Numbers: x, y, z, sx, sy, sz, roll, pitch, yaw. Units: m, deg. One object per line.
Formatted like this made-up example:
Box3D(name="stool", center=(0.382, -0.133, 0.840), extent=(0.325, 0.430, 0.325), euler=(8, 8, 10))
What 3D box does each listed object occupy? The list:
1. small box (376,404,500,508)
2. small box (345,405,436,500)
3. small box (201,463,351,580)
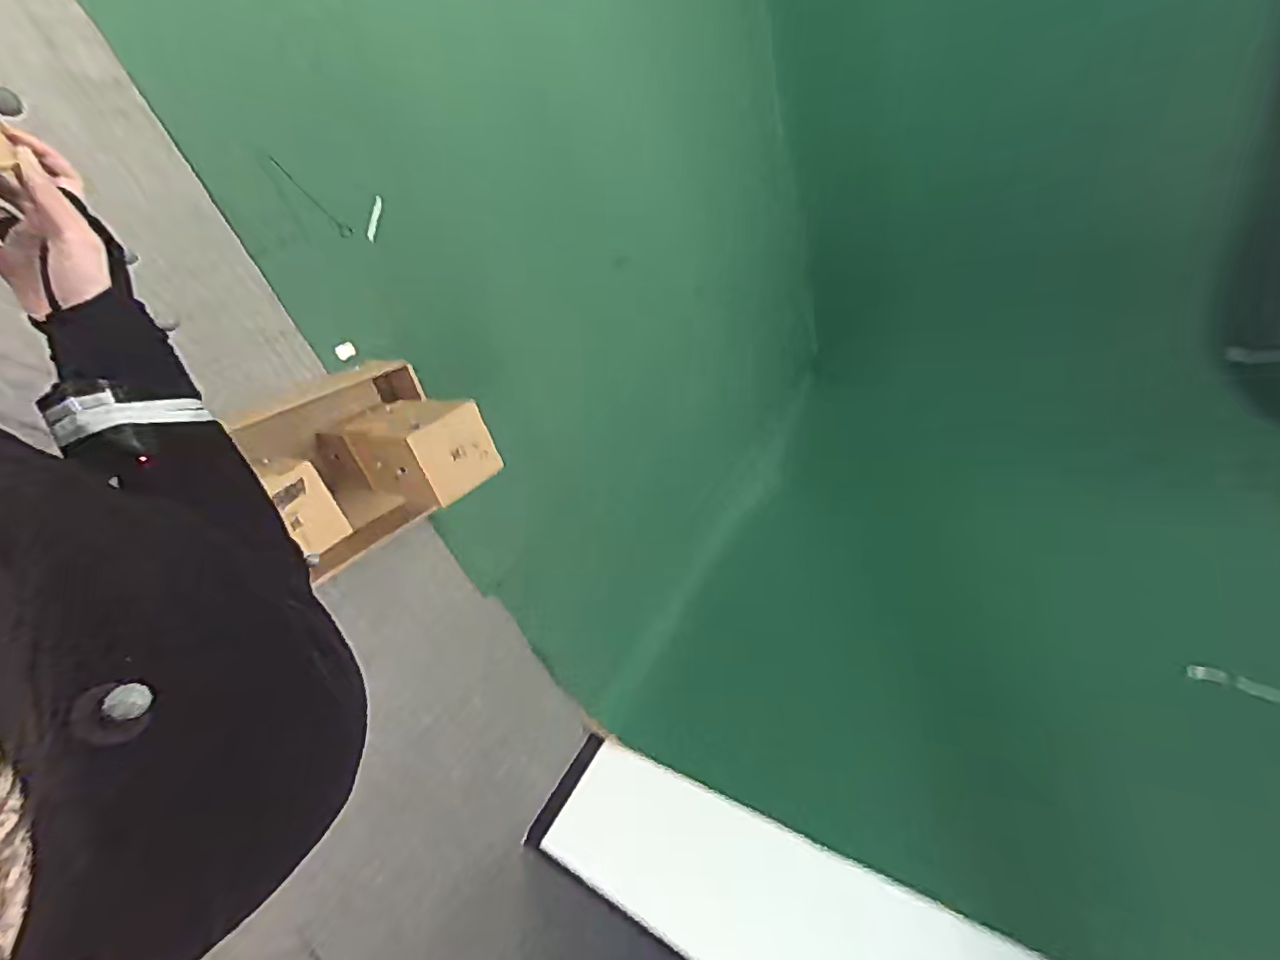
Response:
Box3D(name="small box", center=(-0.450, -0.058, 1.192), extent=(0.179, 0.176, 0.168), euler=(-42, 125, -40))
Box3D(name="small box", center=(-0.569, -0.073, 1.306), extent=(0.168, 0.176, 0.179), euler=(-41, 124, -40))
Box3D(name="small box", center=(-0.740, 0.076, 1.100), extent=(0.168, 0.176, 0.179), euler=(-43, 127, -41))
